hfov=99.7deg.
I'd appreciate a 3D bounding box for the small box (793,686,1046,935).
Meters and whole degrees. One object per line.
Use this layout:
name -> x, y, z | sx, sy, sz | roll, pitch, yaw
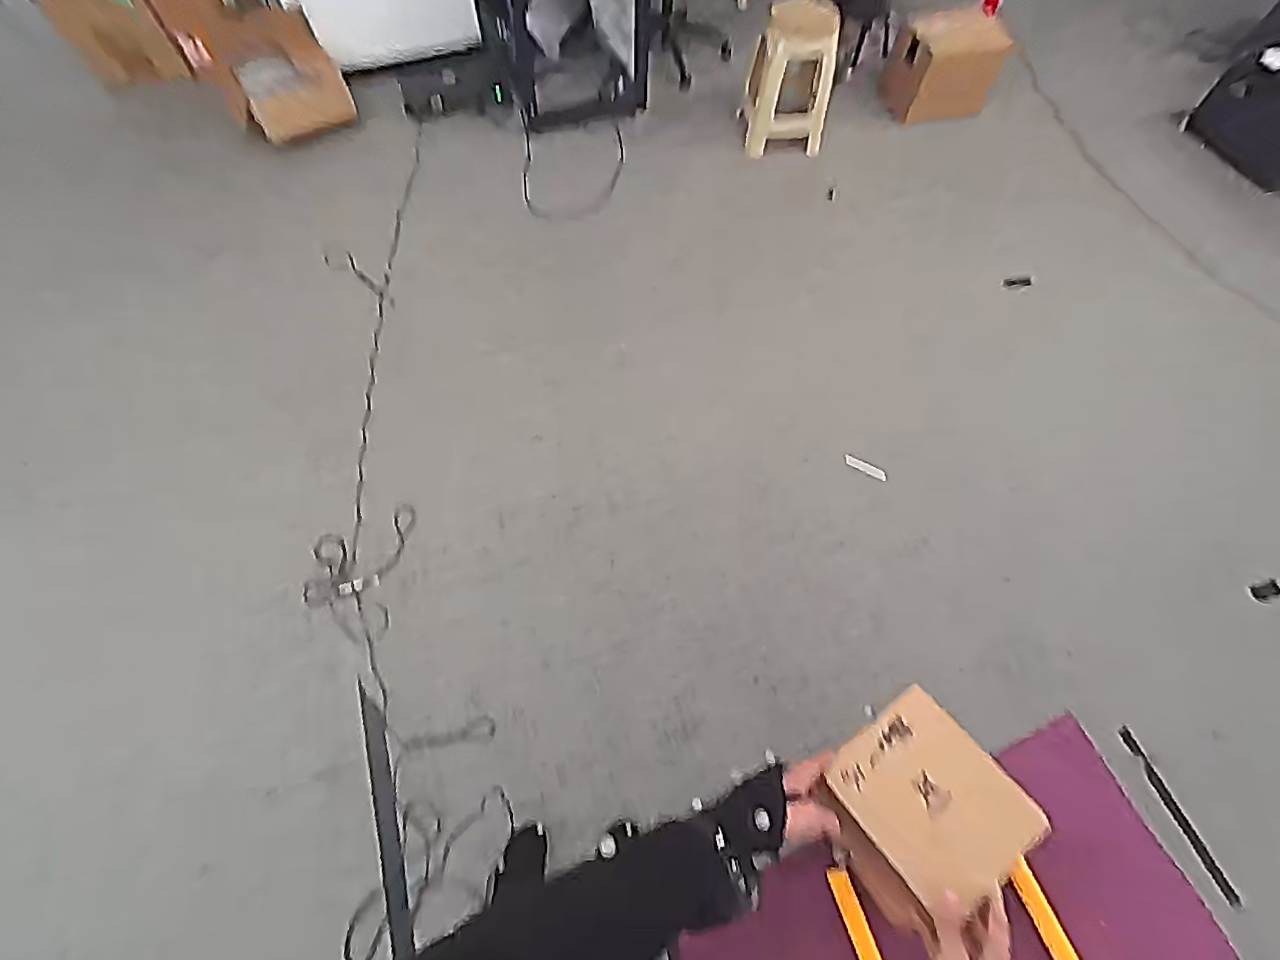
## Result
small box -> 0.313, 0.382, 0.646 | 0.168, 0.176, 0.179 | -30, 61, -17
